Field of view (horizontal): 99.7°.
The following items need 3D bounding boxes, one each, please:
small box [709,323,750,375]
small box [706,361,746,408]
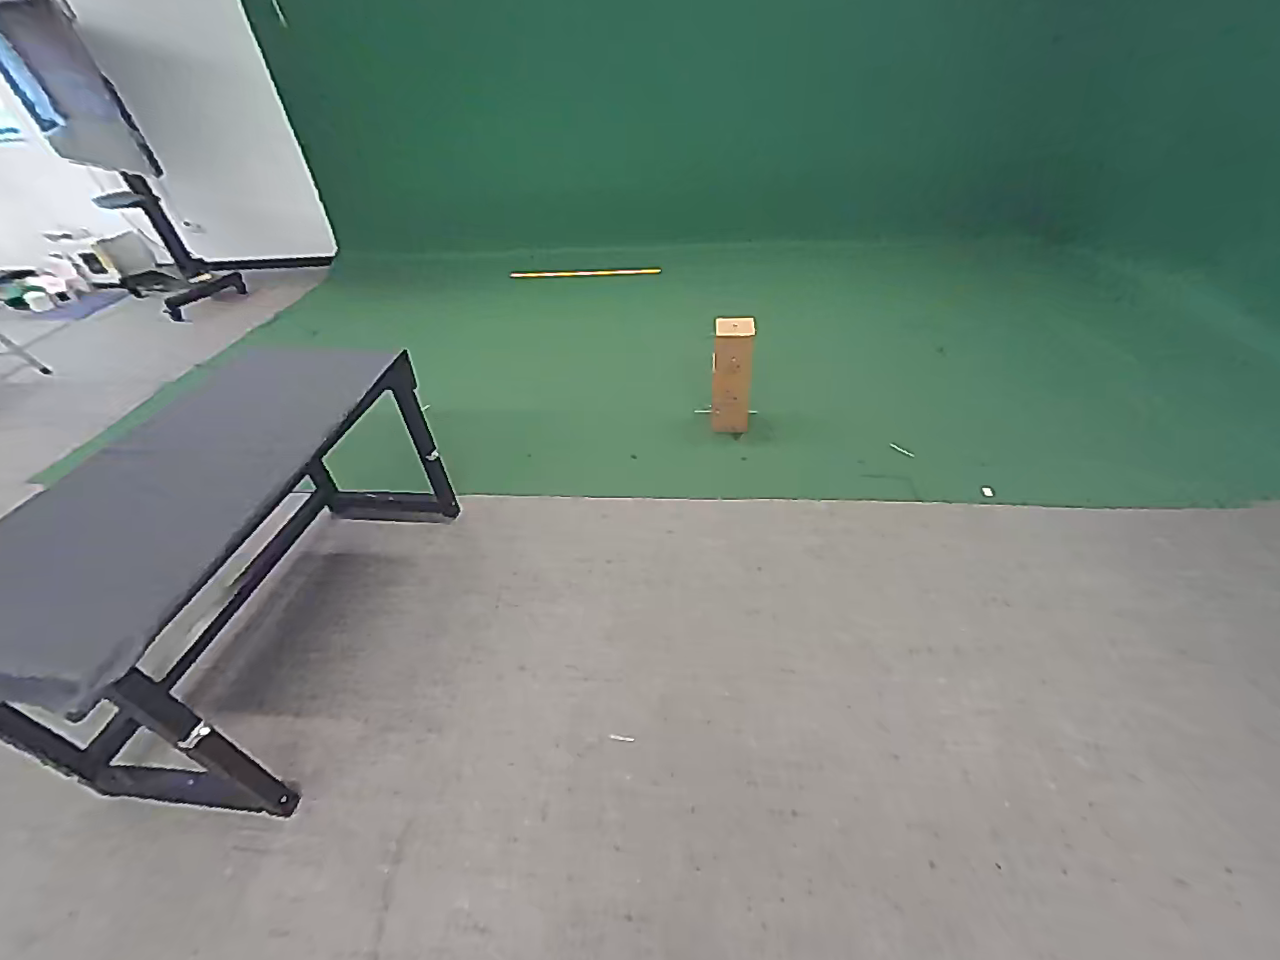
[{"bbox_3d":[0.393,-0.580,2.391,0.168,0.176,0.179,2,40,6],"label":"small box"},{"bbox_3d":[0.392,-0.449,2.493,0.168,0.176,0.179,2,40,5],"label":"small box"}]
